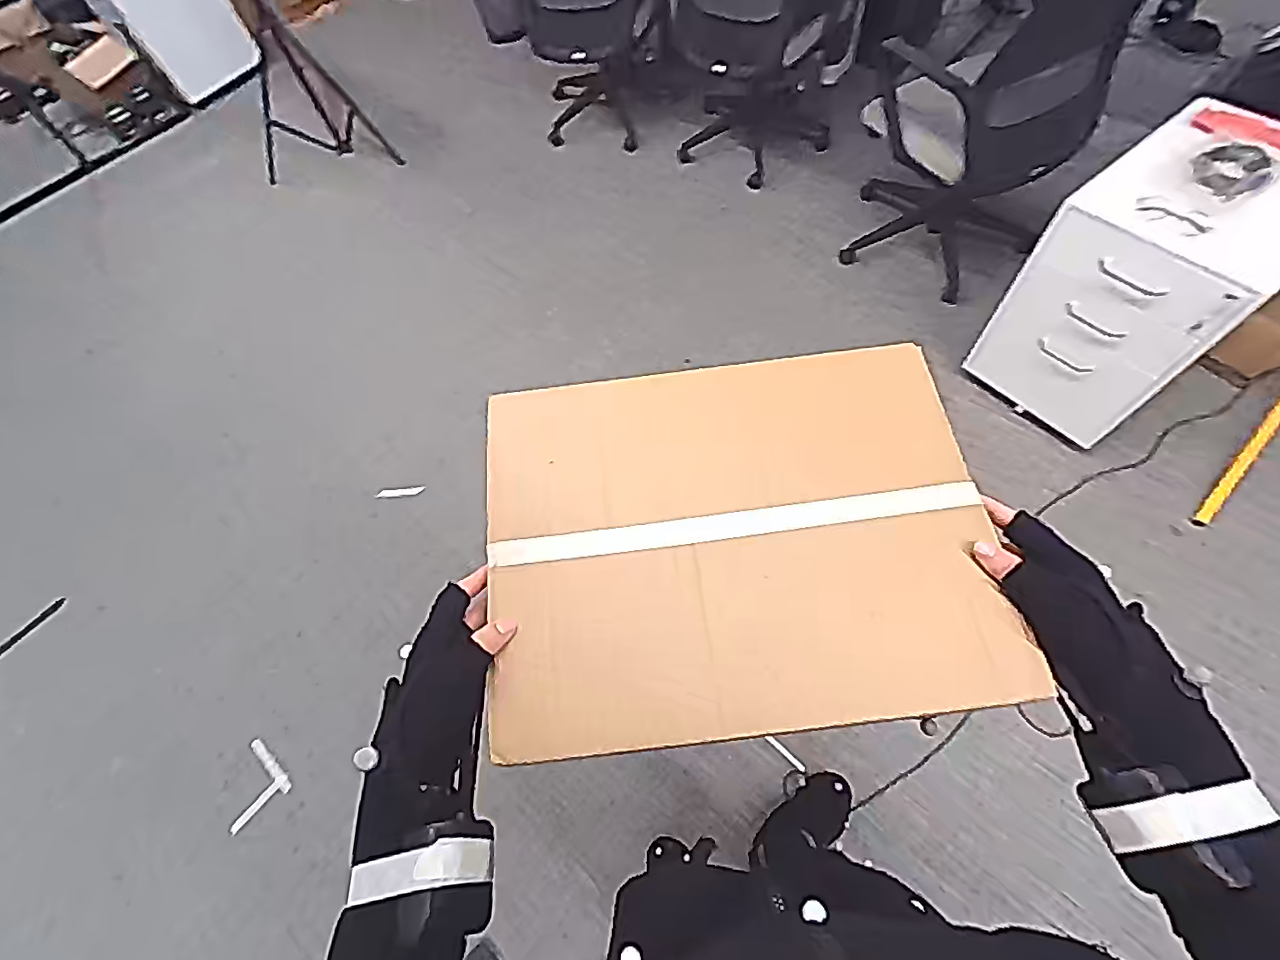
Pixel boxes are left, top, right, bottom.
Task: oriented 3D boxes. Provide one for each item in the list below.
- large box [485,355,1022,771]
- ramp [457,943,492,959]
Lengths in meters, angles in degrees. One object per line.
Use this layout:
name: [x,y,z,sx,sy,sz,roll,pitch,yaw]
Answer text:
large box: [0.077,0.104,0.591,0.408,0.320,0.320,-8,65,0]
ramp: [-0.512,1.411,0.855,0.509,0.206,0.991,35,71,23]
